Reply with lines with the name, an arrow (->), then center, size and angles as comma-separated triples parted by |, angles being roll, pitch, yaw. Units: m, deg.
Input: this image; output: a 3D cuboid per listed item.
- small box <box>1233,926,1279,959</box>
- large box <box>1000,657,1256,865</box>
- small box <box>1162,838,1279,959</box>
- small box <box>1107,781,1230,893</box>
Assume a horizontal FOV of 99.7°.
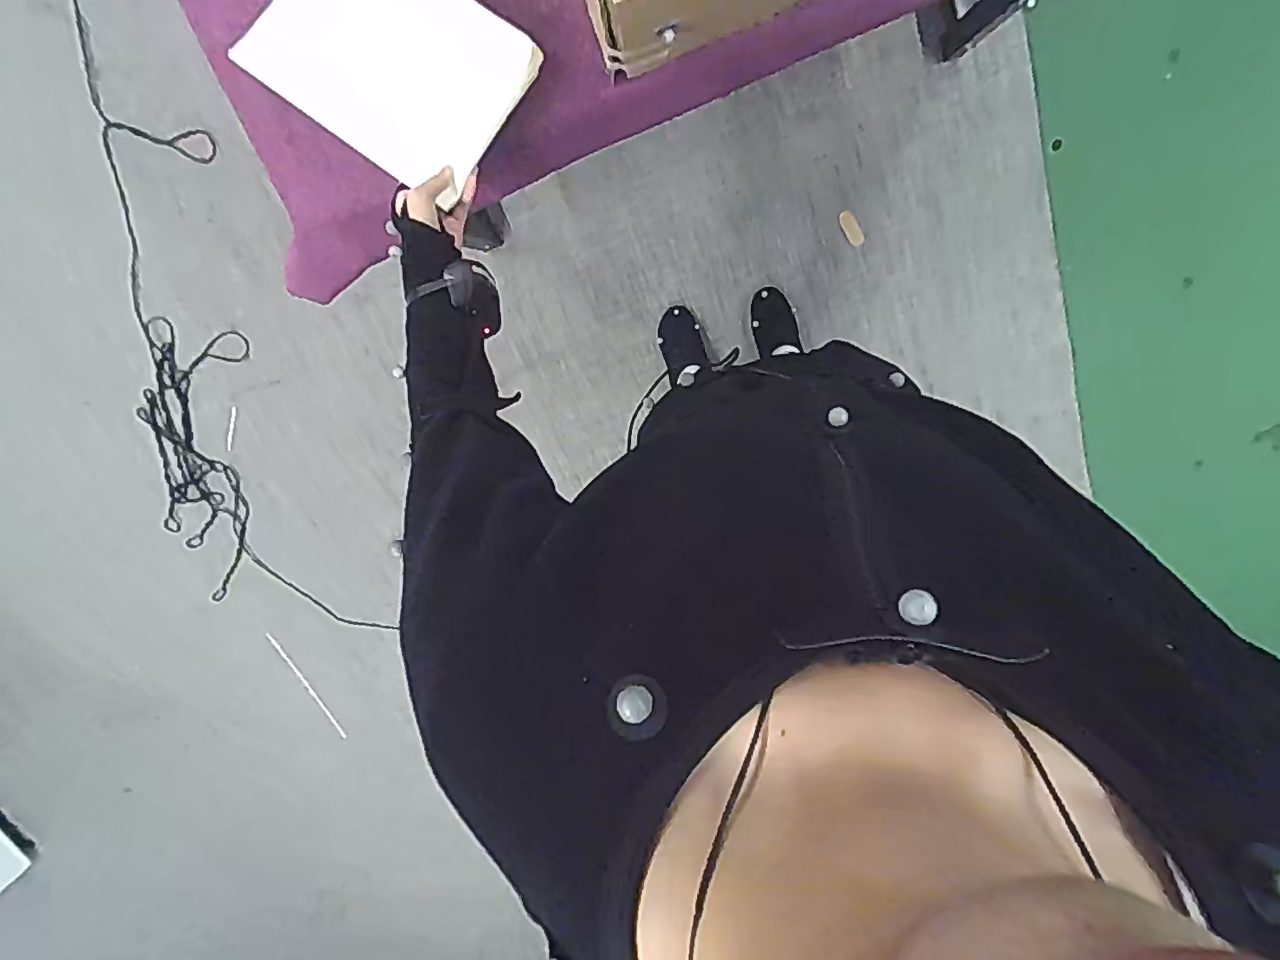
small box -> 1.312, 0.994, 1.036 | 0.179, 0.176, 0.168 | -34, 103, 14
large box -> 1.381, 0.801, 1.571 | 0.408, 0.320, 0.320 | -34, 104, 11
small box -> 1.317, 0.943, 1.192 | 0.179, 0.176, 0.168 | -35, 103, 13
small box -> 1.327, 0.889, 1.346 | 0.168, 0.176, 0.179 | -33, 103, 13
